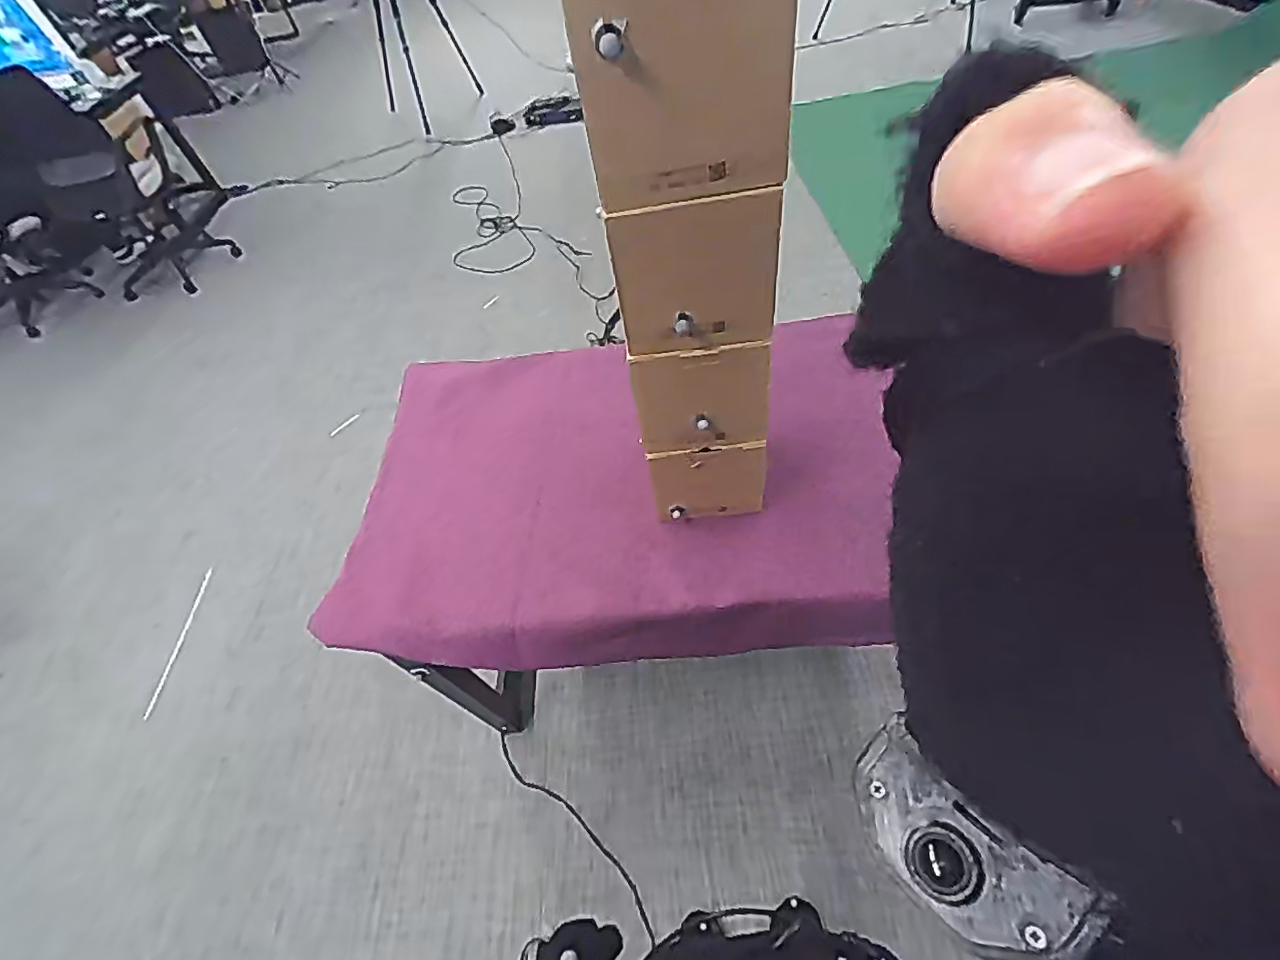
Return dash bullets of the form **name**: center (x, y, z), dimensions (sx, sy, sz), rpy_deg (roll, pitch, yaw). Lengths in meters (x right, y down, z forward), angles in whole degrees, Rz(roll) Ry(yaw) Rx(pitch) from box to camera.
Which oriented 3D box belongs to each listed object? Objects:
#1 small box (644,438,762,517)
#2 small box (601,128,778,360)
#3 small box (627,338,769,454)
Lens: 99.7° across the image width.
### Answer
- **small box**: center (0.098, -0.053, 0.856), dimensions (0.168, 0.176, 0.179), rpy_deg (-6, 52, 5)
- **small box**: center (0.053, -0.260, 0.607), dimensions (0.168, 0.176, 0.179), rpy_deg (-6, 52, 5)
- **small box**: center (0.075, -0.158, 0.732), dimensions (0.168, 0.176, 0.179), rpy_deg (-6, 52, 6)
